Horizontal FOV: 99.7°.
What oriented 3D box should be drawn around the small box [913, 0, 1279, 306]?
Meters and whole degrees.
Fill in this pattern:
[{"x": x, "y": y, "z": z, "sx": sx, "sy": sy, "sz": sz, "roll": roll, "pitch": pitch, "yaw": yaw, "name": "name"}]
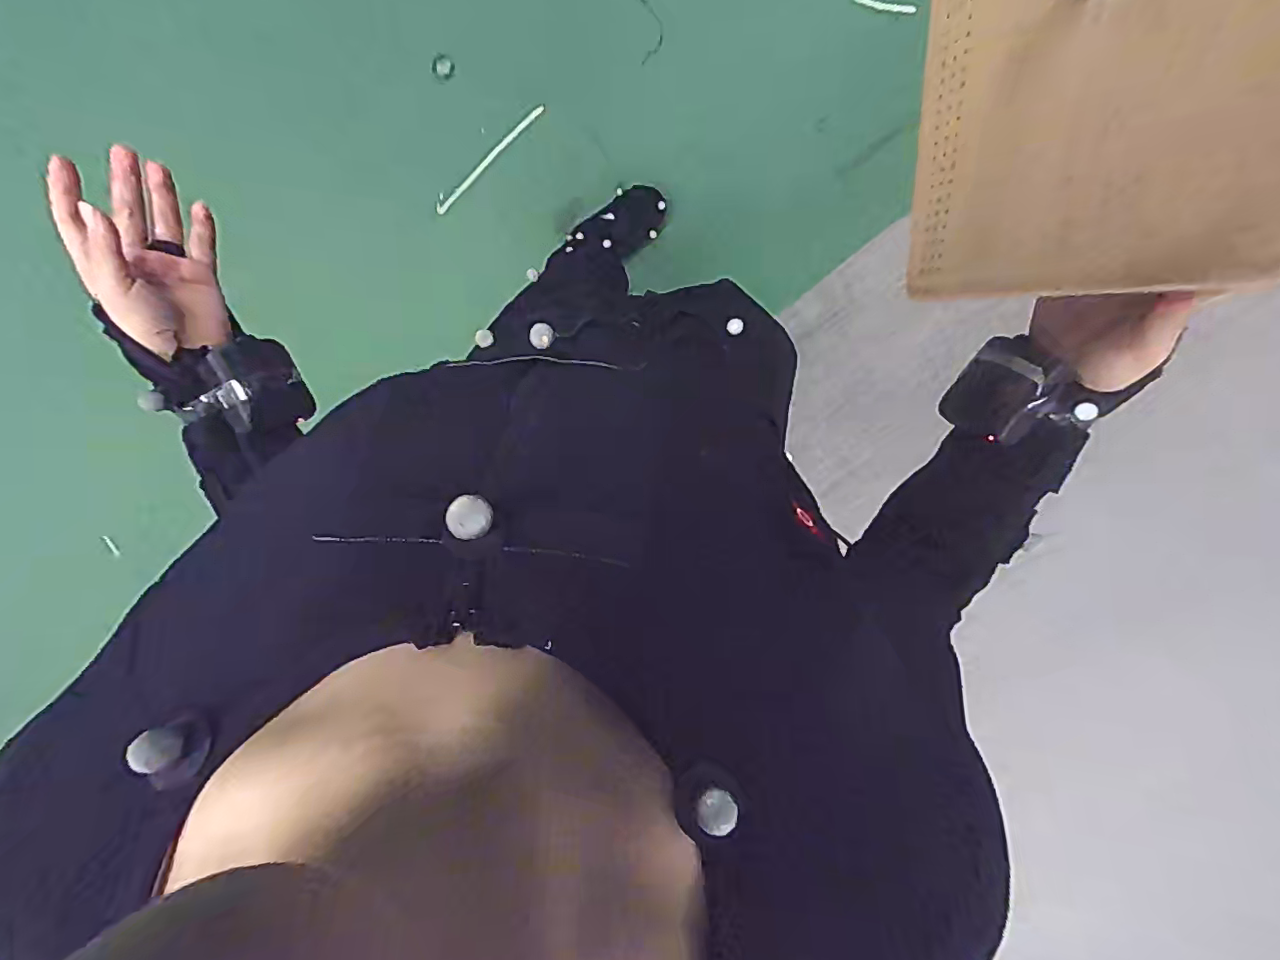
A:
[{"x": 0.231, "y": -0.165, "z": 0.207, "sx": 0.168, "sy": 0.176, "sz": 0.179, "roll": -5, "pitch": 107, "yaw": -5, "name": "small box"}]
